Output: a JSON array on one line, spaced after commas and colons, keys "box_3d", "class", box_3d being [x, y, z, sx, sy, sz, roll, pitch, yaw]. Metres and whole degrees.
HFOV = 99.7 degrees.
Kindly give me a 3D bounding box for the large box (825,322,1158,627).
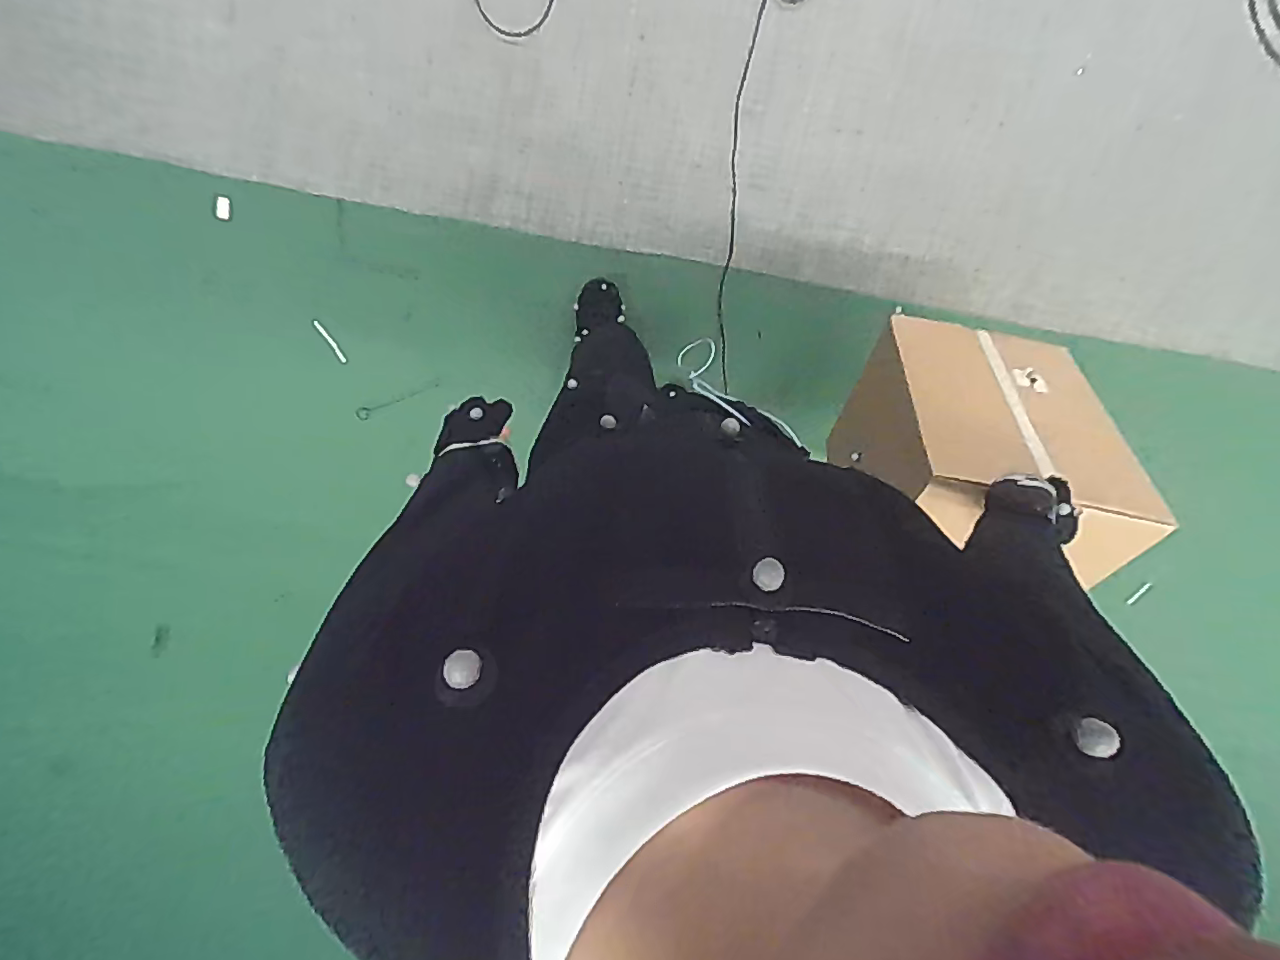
[{"box_3d": [0.535, -0.013, 0.940, 0.320, 0.408, 0.320, 12, 137, 1], "class": "large box"}]
